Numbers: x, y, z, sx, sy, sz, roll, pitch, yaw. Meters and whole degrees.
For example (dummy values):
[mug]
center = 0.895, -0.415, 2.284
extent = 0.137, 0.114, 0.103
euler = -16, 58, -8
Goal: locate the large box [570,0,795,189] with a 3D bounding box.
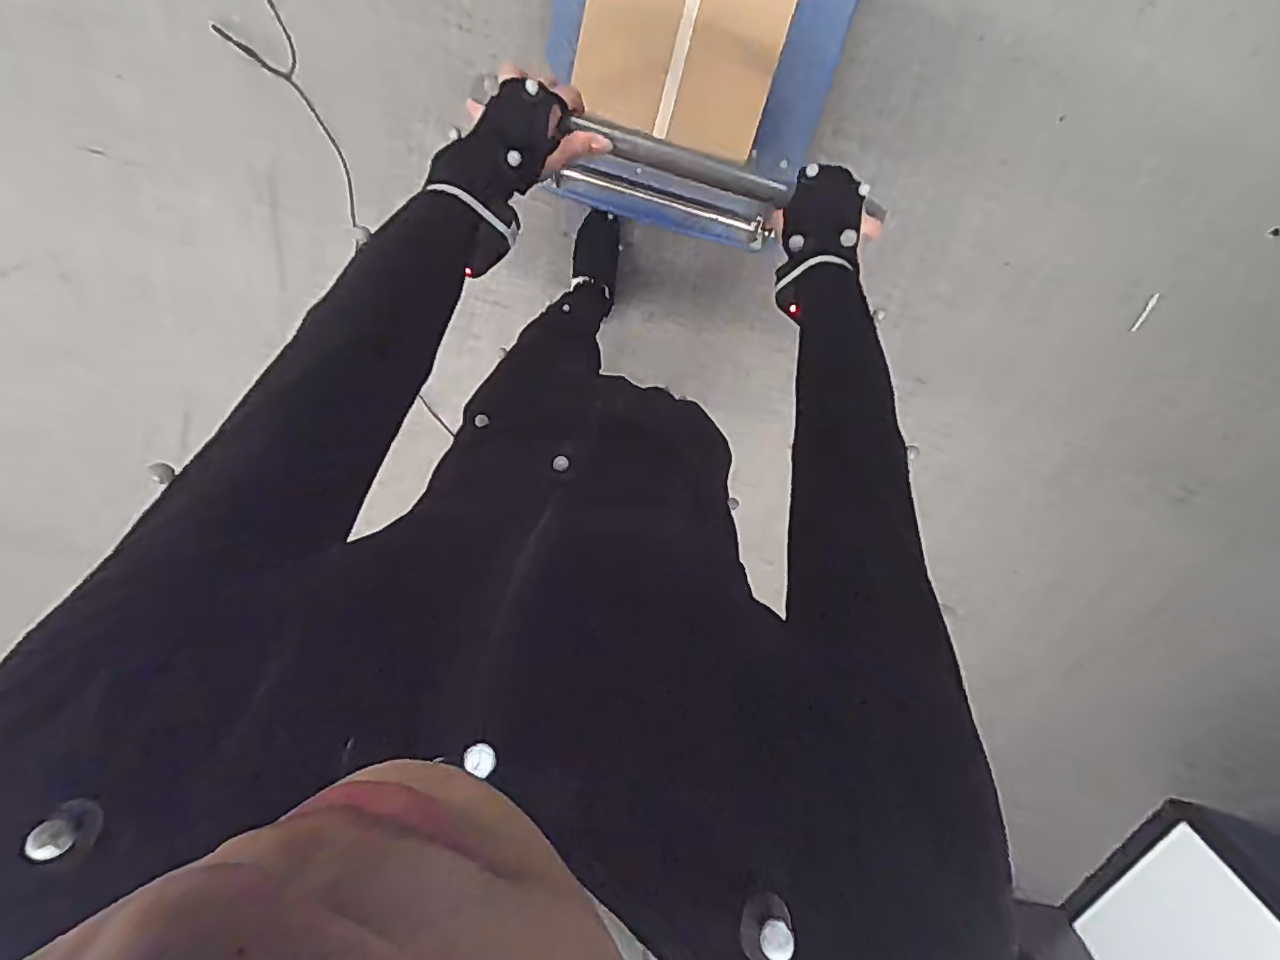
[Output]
[large box]
center = 0.079, -0.797, 0.973
extent = 0.320, 0.320, 0.408
euler = 14, 112, -7
